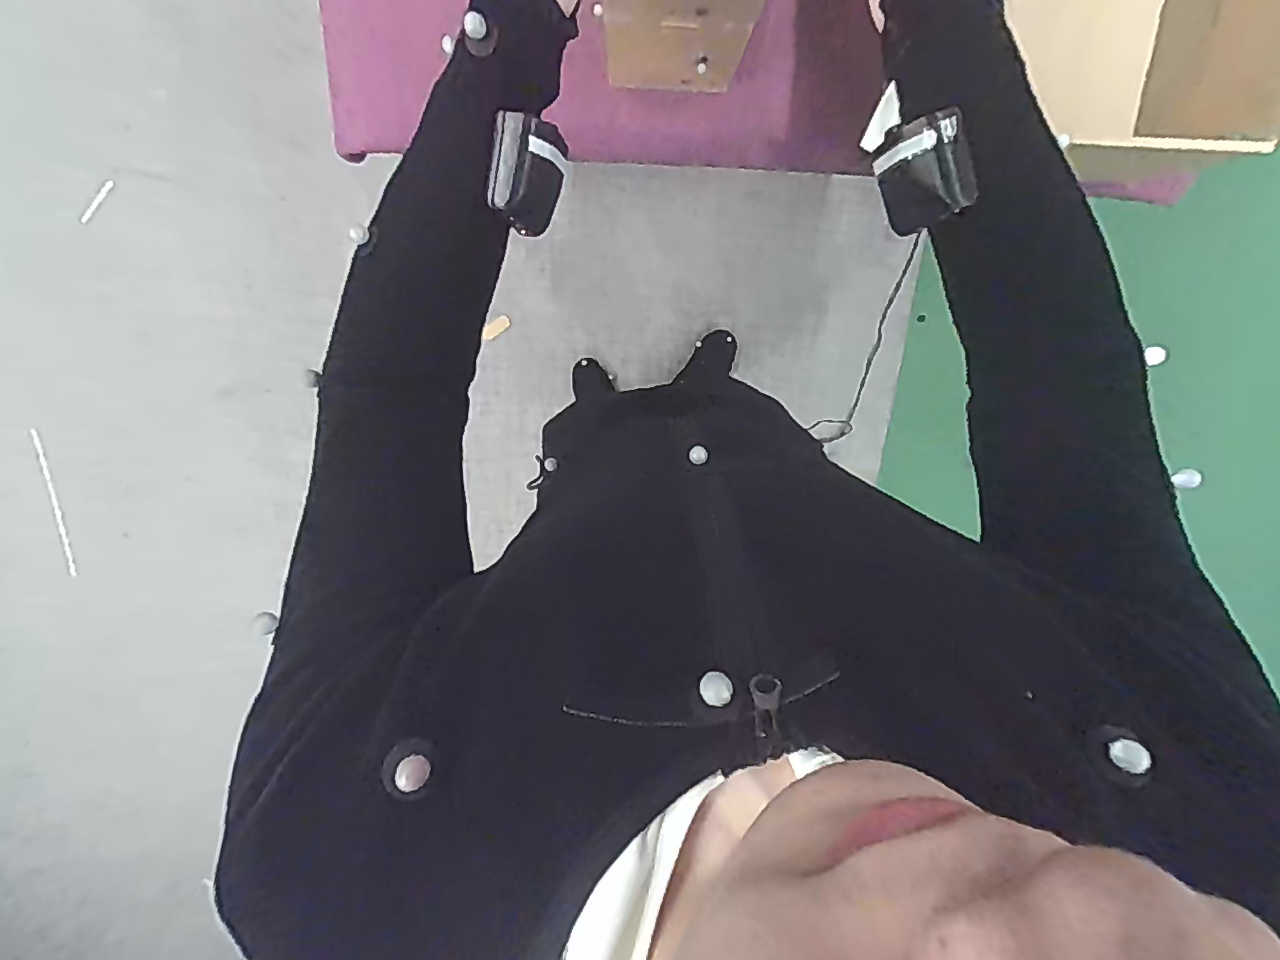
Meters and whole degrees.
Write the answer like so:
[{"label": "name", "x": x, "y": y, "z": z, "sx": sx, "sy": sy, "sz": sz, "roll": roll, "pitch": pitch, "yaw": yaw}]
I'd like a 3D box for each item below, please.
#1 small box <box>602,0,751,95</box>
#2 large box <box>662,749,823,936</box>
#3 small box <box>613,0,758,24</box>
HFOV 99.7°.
[{"label": "small box", "x": 0.043, "y": -0.595, "z": 0.646, "sx": 0.168, "sy": 0.176, "sz": 0.179, "roll": 2, "pitch": 104, "yaw": -2}, {"label": "large box", "x": 0.326, "y": 1.206, "z": 1.825, "sx": 0.408, "sy": 0.320, "sz": 0.320, "roll": -30, "pitch": 105, "yaw": 6}, {"label": "small box", "x": 0.047, "y": -0.557, "z": 0.487, "sx": 0.168, "sy": 0.176, "sz": 0.179, "roll": 1, "pitch": 105, "yaw": -3}]
